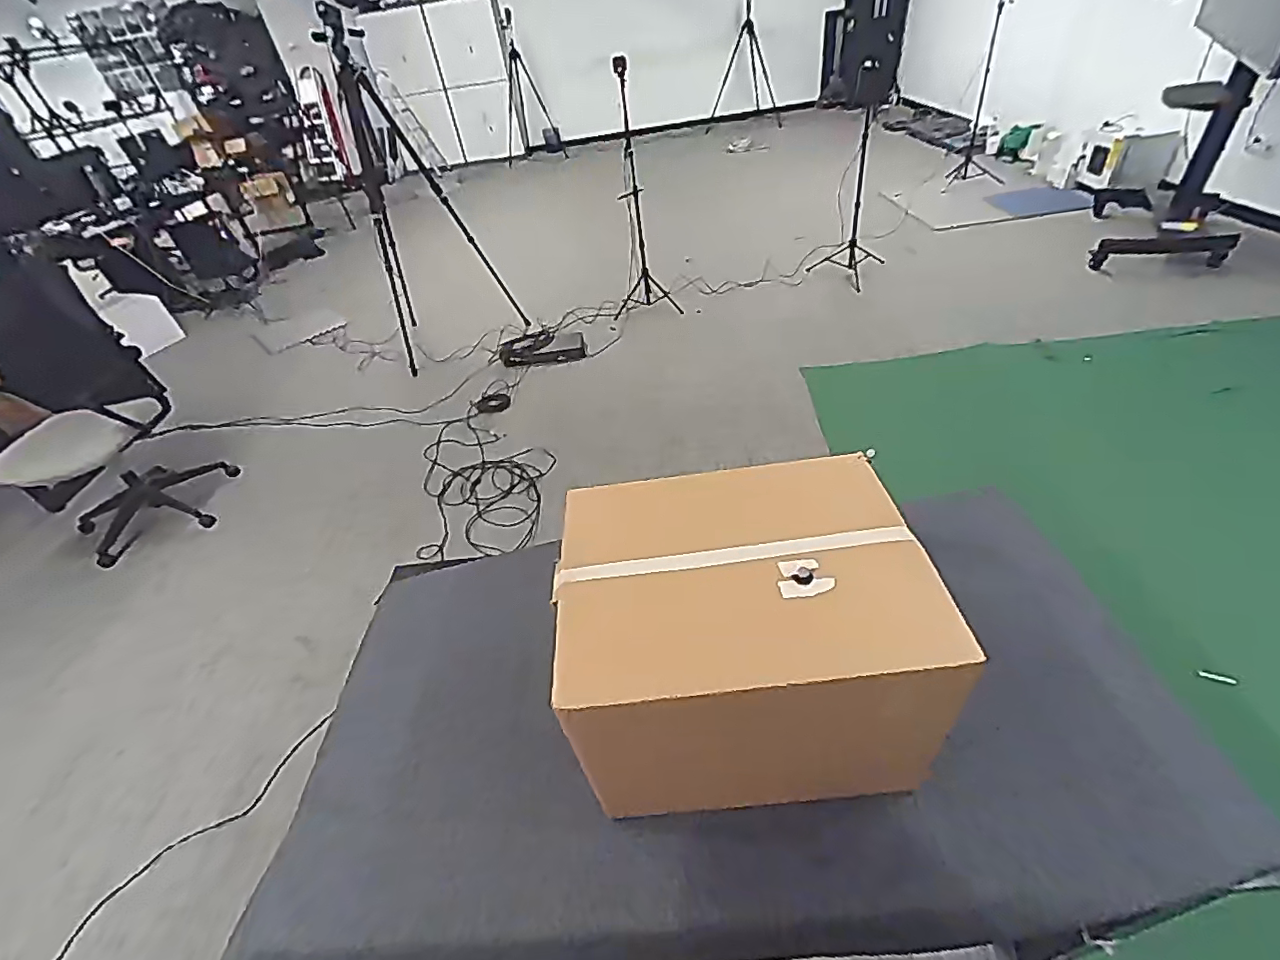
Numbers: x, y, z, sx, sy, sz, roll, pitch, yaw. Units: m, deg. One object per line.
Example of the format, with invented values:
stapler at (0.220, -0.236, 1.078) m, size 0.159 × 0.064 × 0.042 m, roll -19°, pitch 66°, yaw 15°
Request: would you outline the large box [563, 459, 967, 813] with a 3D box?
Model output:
large box at (0.126, 0.208, 0.728) m, size 0.408 × 0.320 × 0.320 m, roll -7°, pitch 41°, yaw 2°
